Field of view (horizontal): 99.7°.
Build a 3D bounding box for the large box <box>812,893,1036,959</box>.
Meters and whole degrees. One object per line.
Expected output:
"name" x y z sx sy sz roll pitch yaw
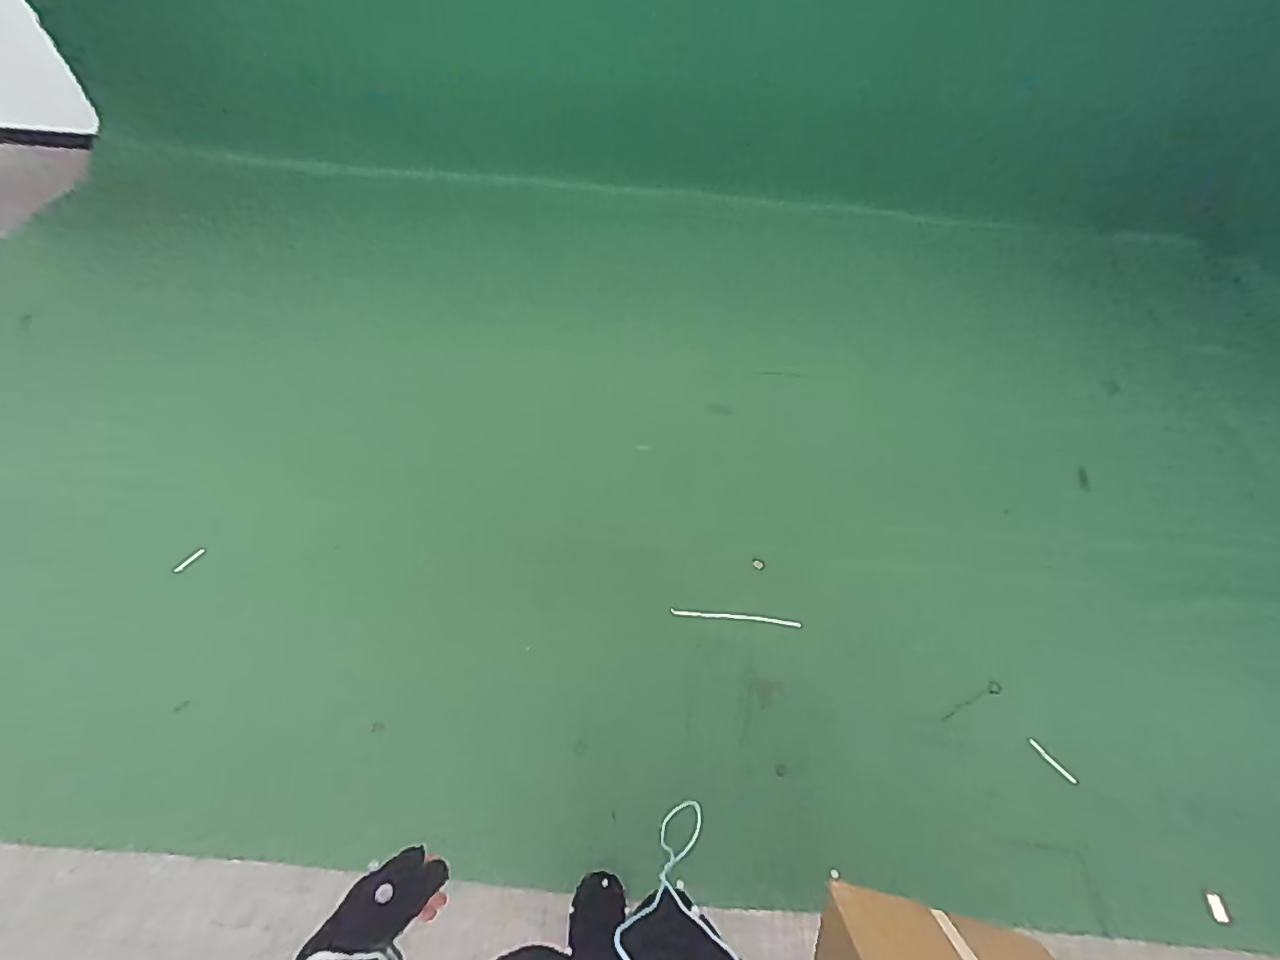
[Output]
"large box" 0.379 0.780 0.595 0.320 0.408 0.320 14 84 6
